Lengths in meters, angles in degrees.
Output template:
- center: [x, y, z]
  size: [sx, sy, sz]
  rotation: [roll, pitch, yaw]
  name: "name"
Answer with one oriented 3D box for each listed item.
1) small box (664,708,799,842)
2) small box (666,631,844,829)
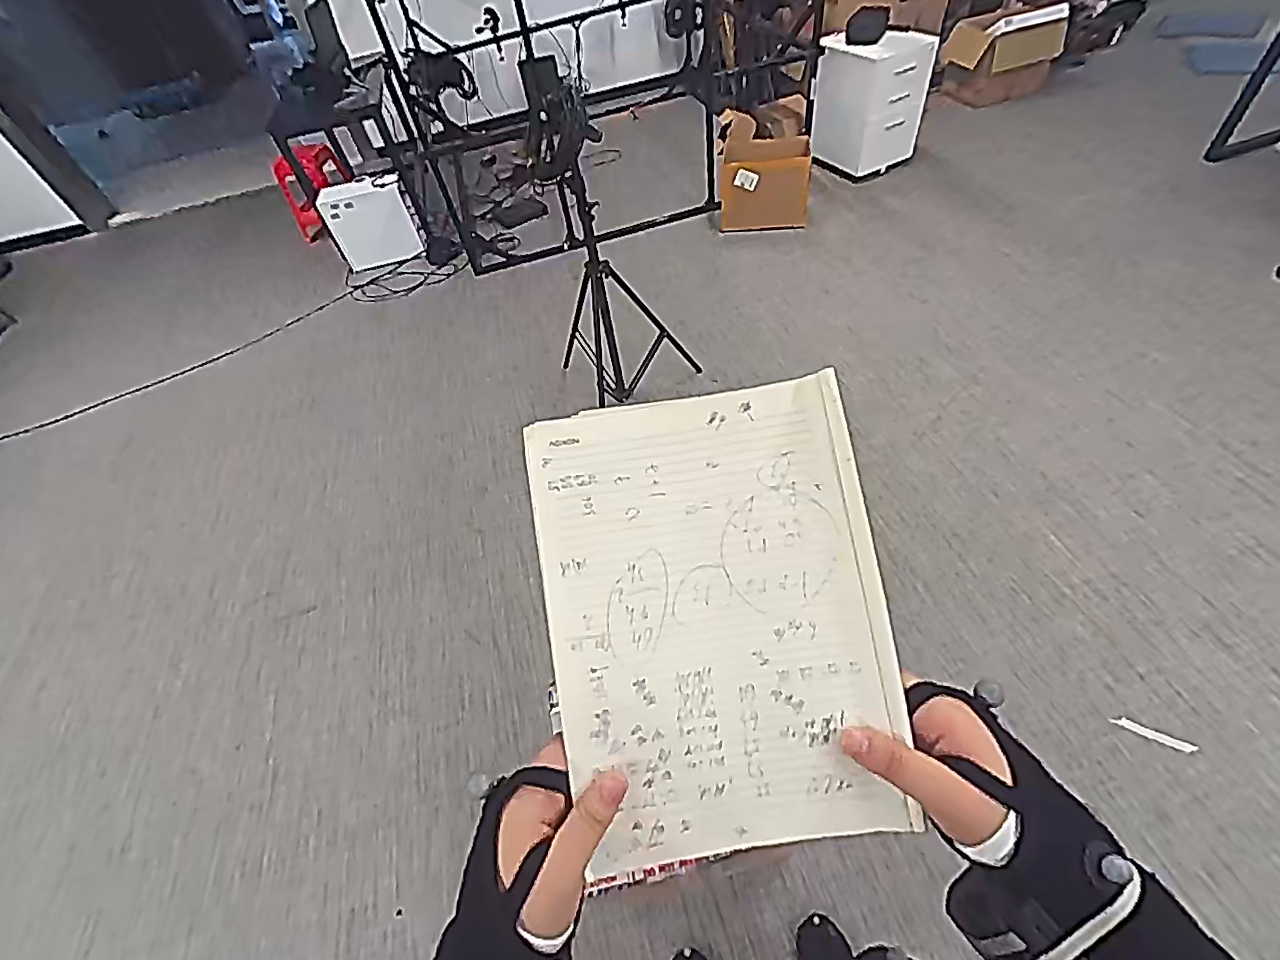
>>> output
- center: [0.147, 0.432, 0.835]
  size: [0.179, 0.176, 0.168]
  rotation: [-17, 51, -7]
  name: "small box"
- center: [0.135, 0.329, 0.708]
  size: [0.168, 0.176, 0.179]
  rotation: [-14, 52, -5]
  name: "small box"
